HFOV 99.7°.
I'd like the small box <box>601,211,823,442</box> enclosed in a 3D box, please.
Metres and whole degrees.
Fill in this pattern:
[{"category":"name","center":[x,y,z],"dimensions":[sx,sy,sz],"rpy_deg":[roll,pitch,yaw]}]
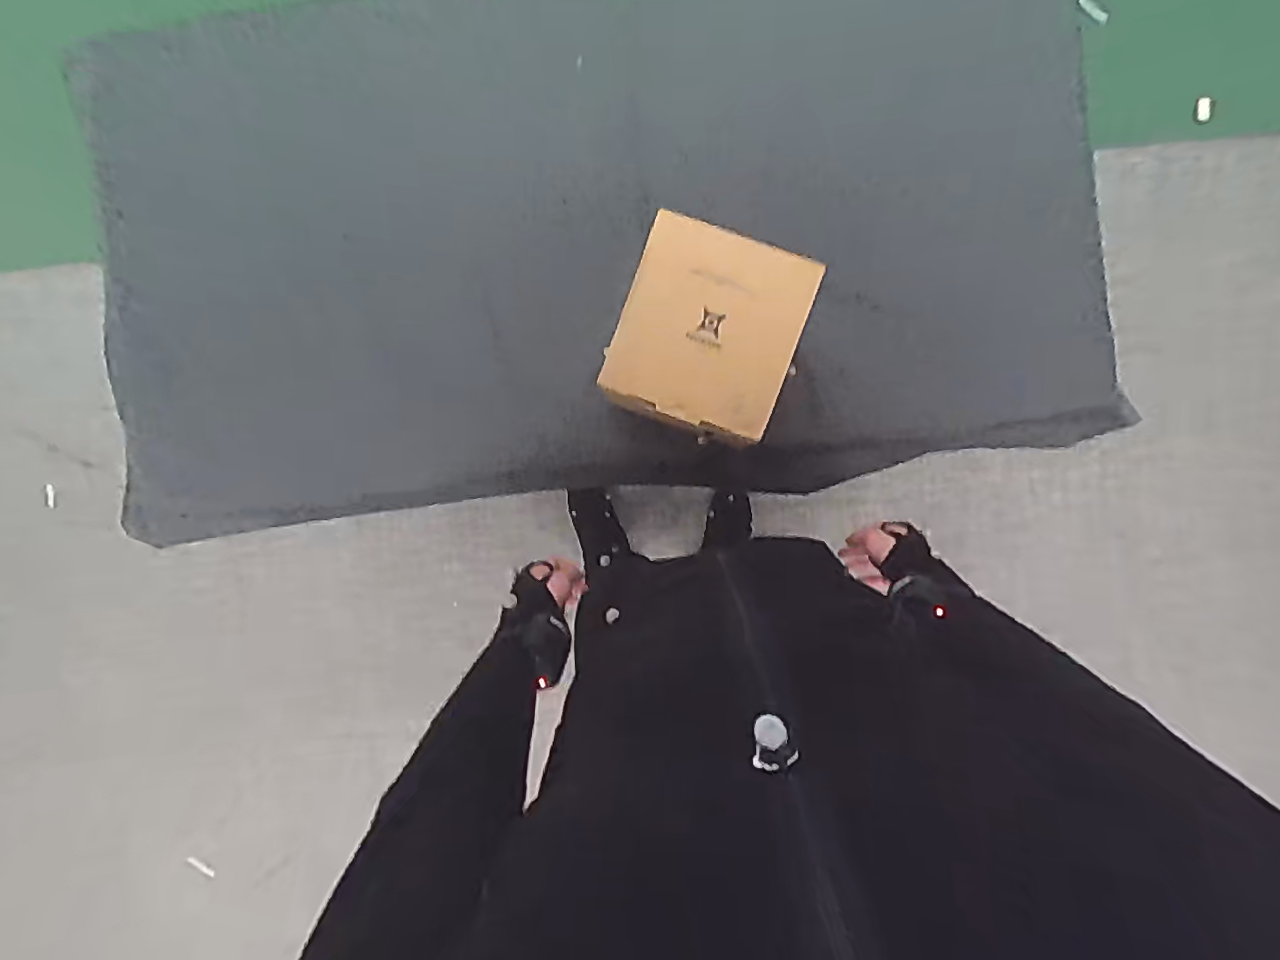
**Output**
[{"category":"small box","center":[0.069,-0.145,0.581],"dimensions":[0.168,0.176,0.179],"rpy_deg":[19,92,1]}]
